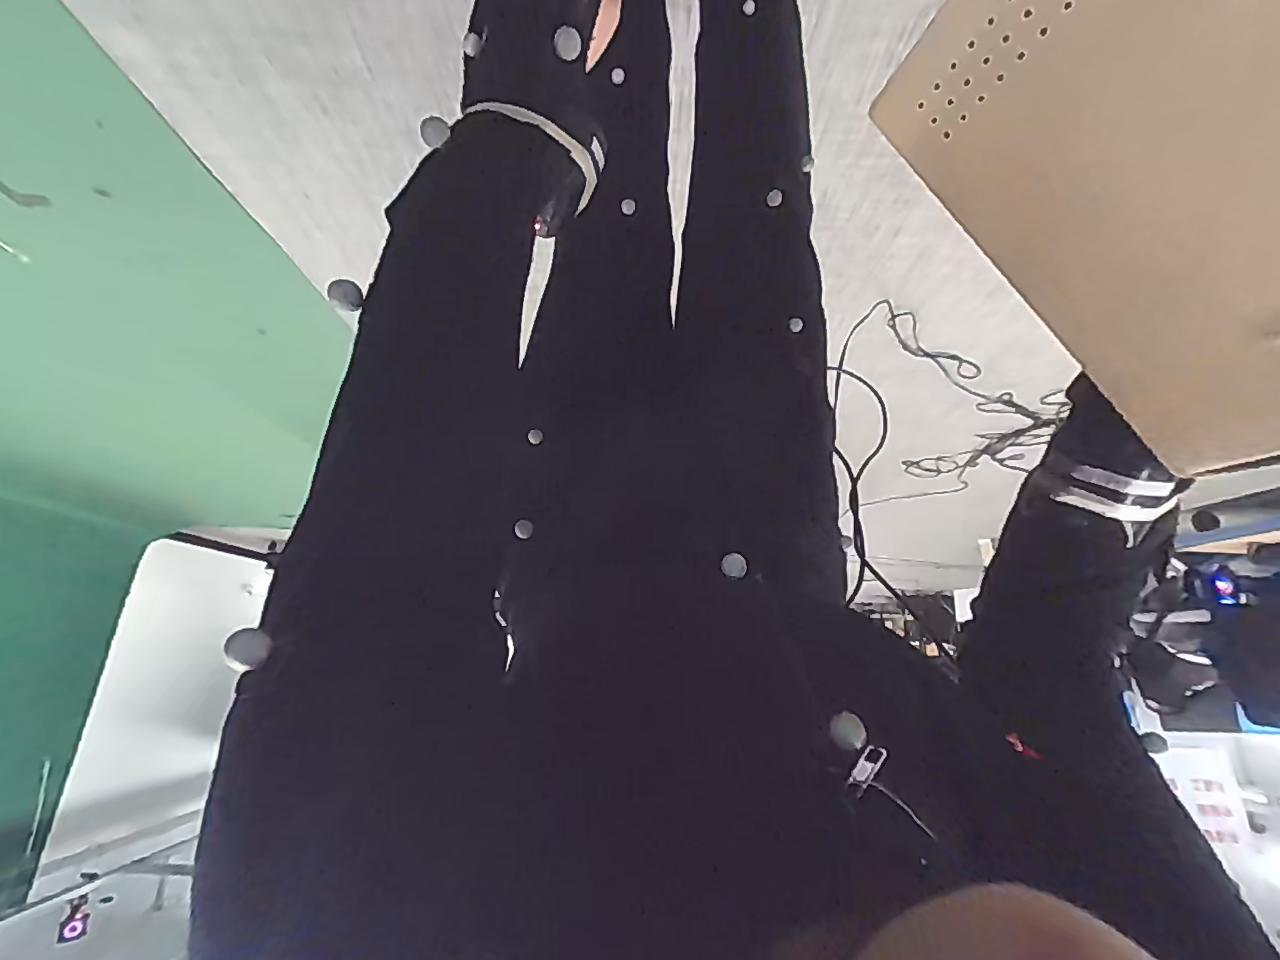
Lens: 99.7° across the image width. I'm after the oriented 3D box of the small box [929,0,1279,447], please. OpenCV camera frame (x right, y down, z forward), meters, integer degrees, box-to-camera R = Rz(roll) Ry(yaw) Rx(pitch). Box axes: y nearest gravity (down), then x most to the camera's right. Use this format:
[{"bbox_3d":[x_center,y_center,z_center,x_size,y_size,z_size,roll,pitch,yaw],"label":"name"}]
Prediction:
[{"bbox_3d":[0.210,-0.140,0.133,0.168,0.176,0.179,-38,178,-22],"label":"small box"}]
